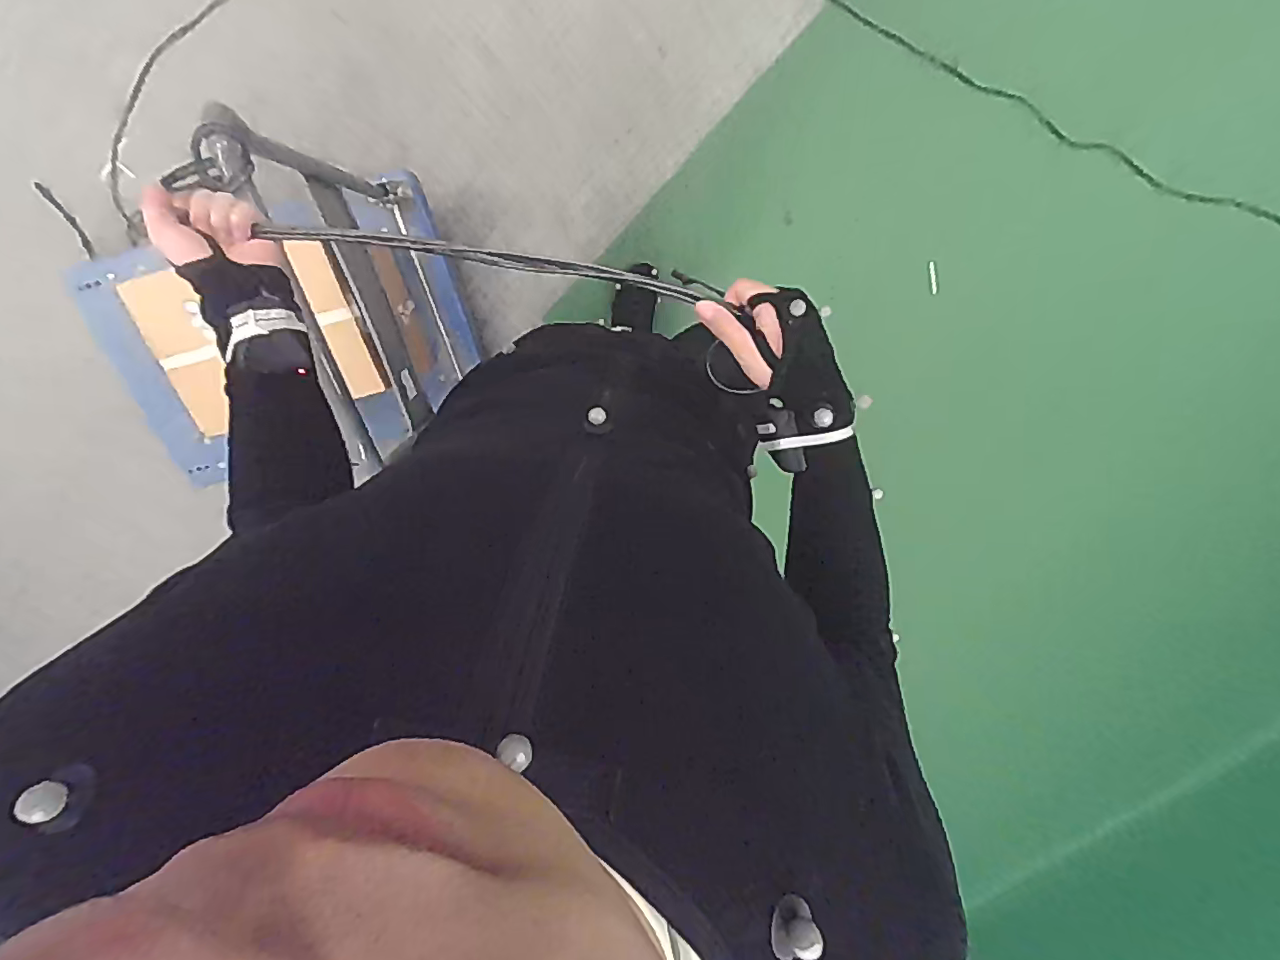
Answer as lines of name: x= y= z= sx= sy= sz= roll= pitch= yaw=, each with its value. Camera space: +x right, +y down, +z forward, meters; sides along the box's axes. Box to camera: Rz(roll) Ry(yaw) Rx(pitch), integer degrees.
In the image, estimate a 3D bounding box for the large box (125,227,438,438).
large box: x=-0.728 y=-0.325 z=1.174 sx=0.408 sy=0.320 sz=0.320 roll=-13 pitch=111 yaw=5
